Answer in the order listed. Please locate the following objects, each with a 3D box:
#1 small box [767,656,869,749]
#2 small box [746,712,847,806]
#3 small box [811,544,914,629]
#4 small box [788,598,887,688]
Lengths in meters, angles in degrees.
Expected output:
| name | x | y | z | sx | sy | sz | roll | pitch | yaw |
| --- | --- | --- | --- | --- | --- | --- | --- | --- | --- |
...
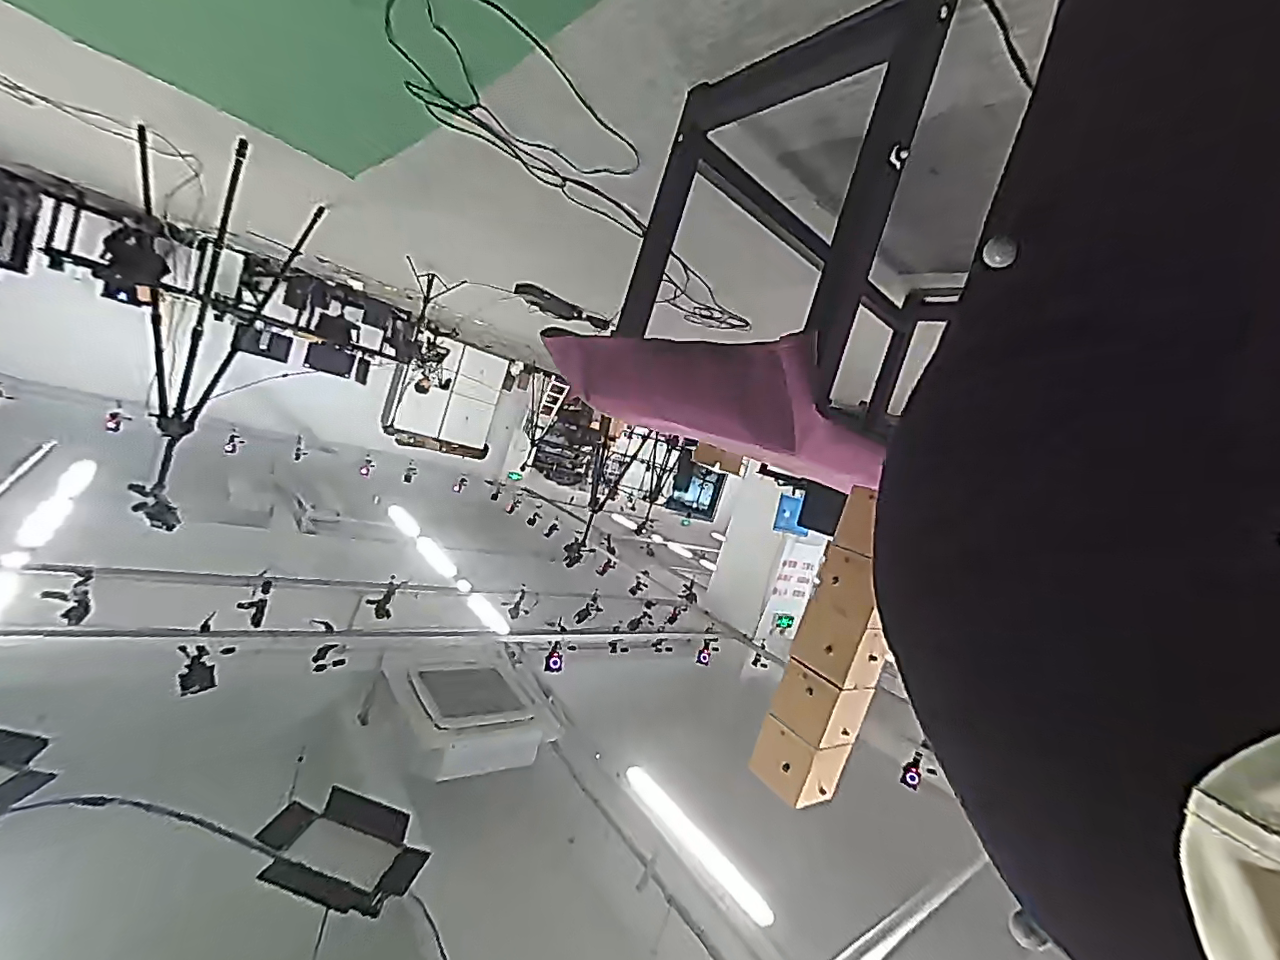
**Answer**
| name | x | y | z | sx | sy | sz | roll | pitch | yaw |
| --- | --- | --- | --- | --- | --- | --- | --- | --- | --- |
| small box | 0.480 | 0.584 | 1.445 | 0.179 | 0.176 | 0.168 | 17 | -175 | -39 |
| small box | 0.423 | 0.736 | 1.457 | 0.179 | 0.176 | 0.168 | 15 | -174 | -39 |
| small box | 0.587 | 0.276 | 1.422 | 0.179 | 0.176 | 0.168 | 15 | -174 | -40 |
| small box | 0.531 | 0.428 | 1.438 | 0.168 | 0.176 | 0.179 | 16 | -176 | -39 |
